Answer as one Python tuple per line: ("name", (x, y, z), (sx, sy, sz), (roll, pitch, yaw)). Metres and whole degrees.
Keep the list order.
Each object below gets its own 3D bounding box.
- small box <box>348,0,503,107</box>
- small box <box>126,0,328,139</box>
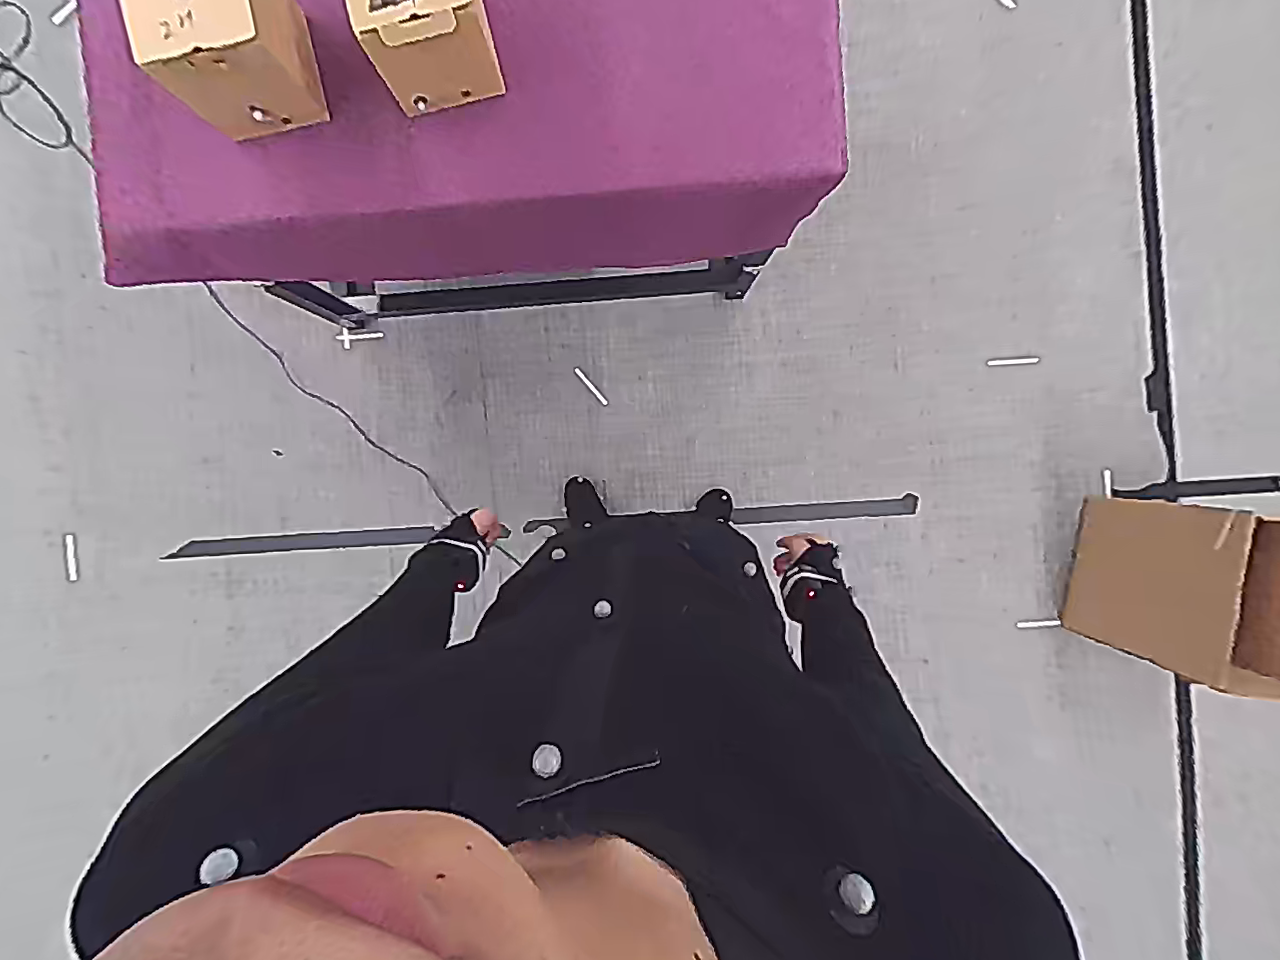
("small box", (-0.314, -0.687, 0.792), (0.168, 0.176, 0.179), (-14, 91, 0))
("small box", (-0.594, -0.645, 0.789), (0.168, 0.176, 0.179), (-12, 92, 0))
